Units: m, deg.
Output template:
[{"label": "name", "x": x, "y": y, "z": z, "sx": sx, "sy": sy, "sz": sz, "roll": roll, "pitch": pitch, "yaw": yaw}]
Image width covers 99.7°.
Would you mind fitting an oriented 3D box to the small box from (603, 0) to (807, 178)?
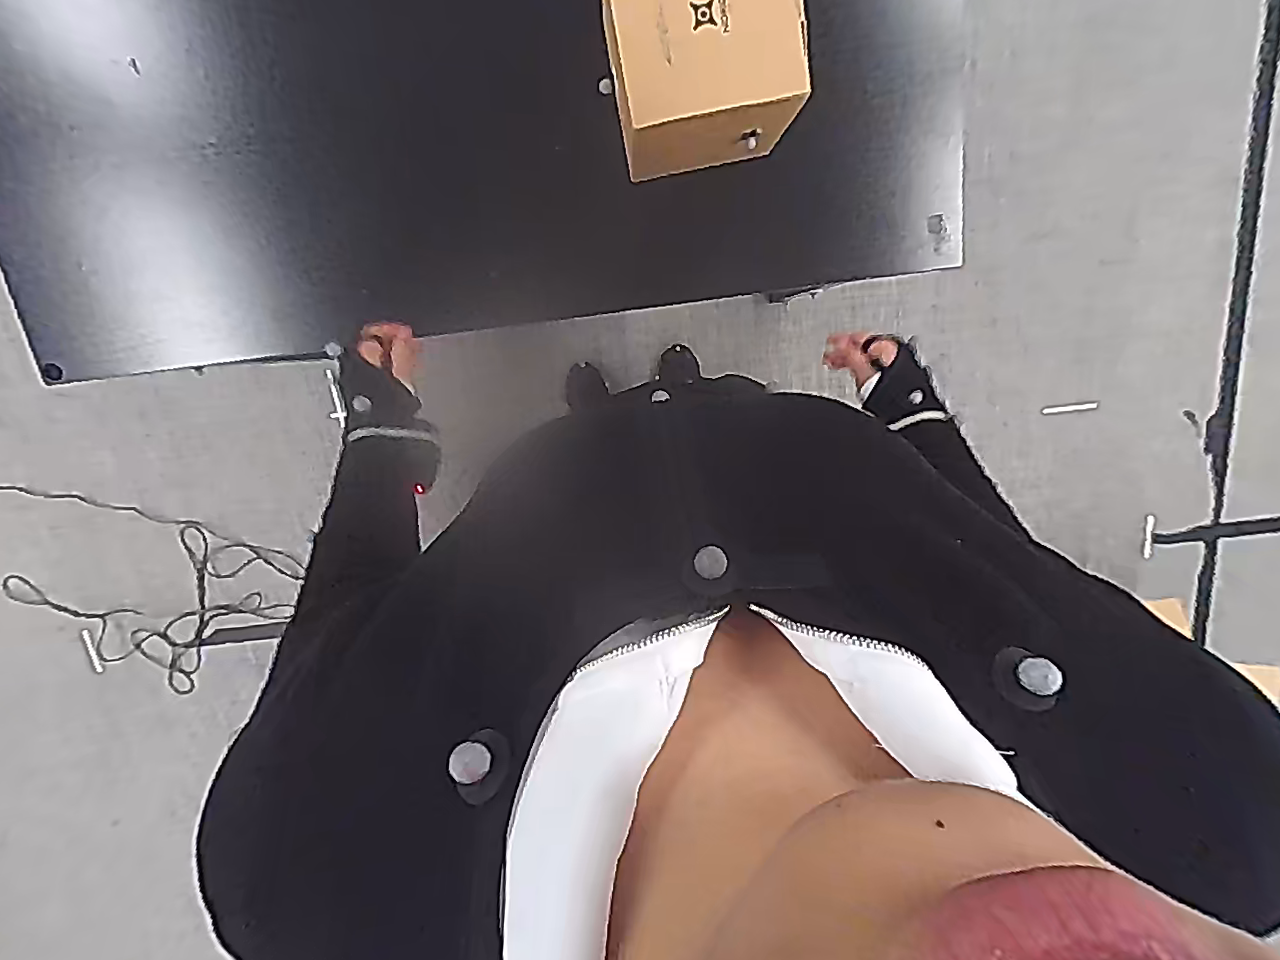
[{"label": "small box", "x": 0.059, "y": -0.449, "z": 0.576, "sx": 0.179, "sy": 0.176, "sz": 0.168, "roll": -11, "pitch": 102, "yaw": 2}]
